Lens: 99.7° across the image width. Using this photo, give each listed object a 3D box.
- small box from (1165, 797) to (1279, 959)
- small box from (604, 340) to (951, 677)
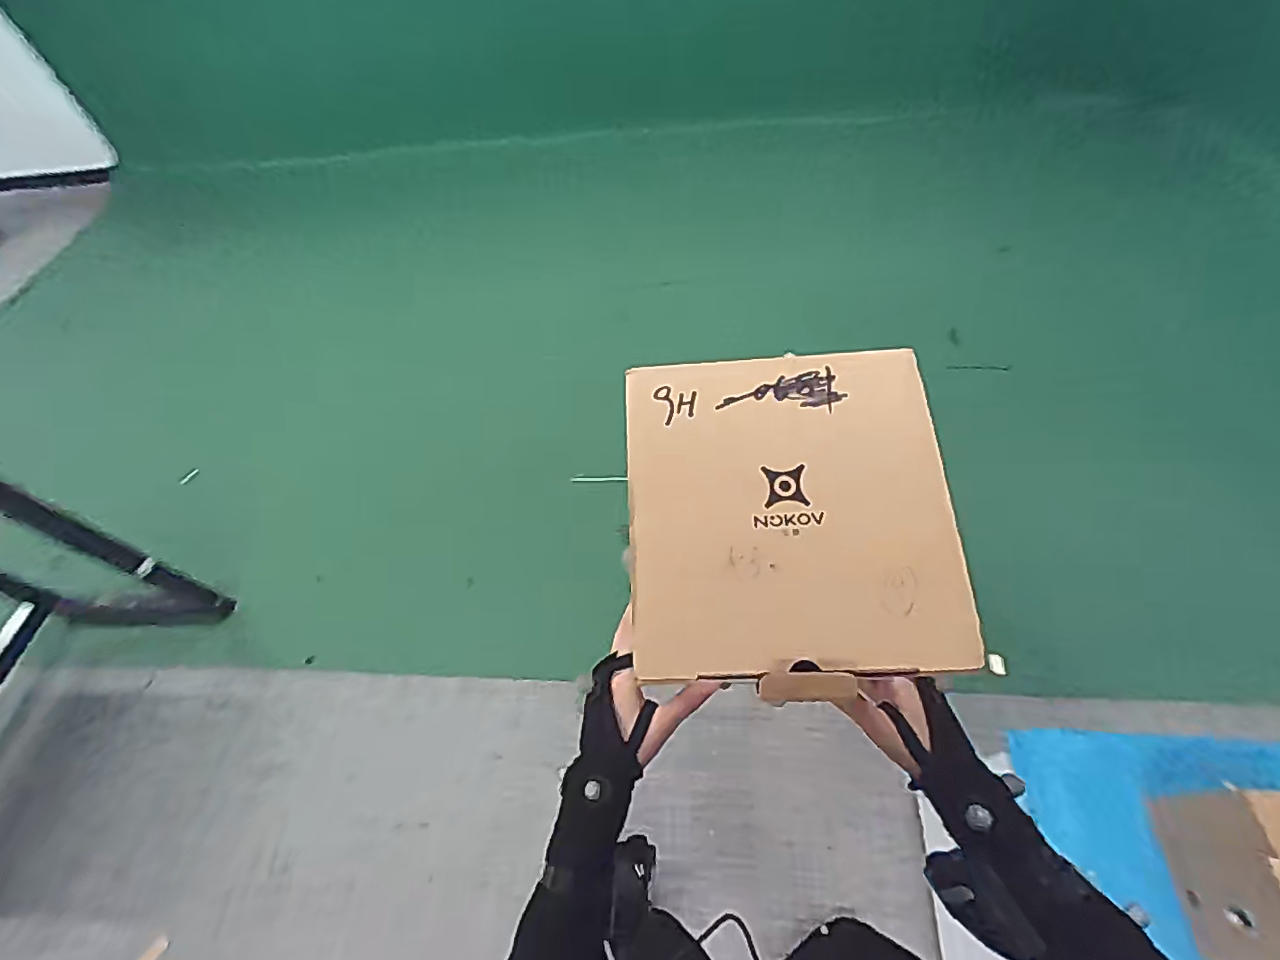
[{"bbox_3d":[0.725,0.449,0.576,0.179,0.176,0.168,3,57,8],"label":"small box"},{"bbox_3d":[0.069,0.032,0.357,0.168,0.176,0.179,-3,71,4],"label":"small box"}]
